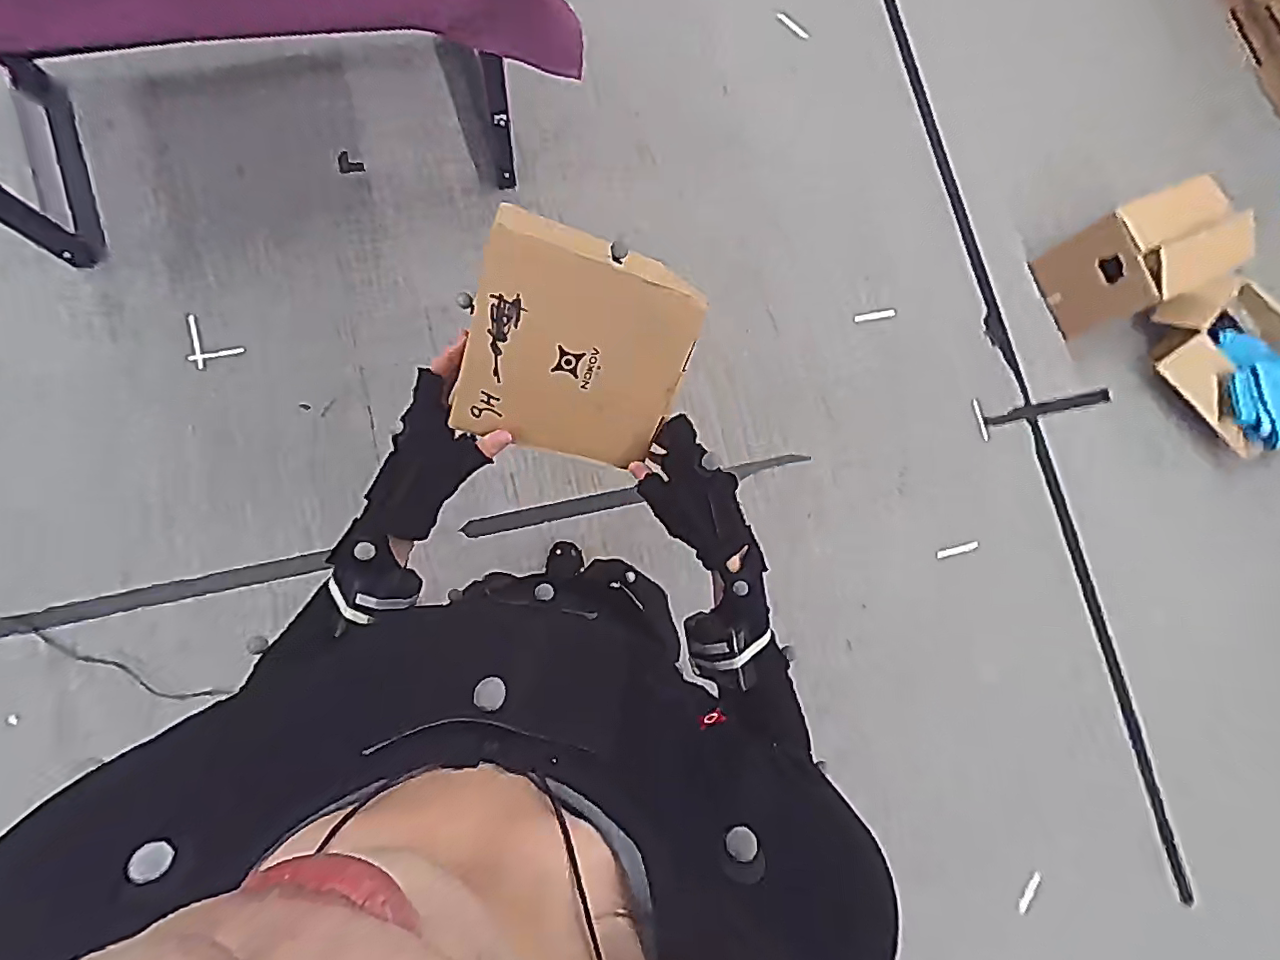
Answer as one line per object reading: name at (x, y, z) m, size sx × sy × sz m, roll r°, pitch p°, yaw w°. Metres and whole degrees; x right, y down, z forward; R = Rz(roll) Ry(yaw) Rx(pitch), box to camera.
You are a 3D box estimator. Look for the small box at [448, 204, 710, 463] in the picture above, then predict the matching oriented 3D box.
small box at (-0.067, -0.140, 0.500) m, size 0.179 × 0.176 × 0.168 m, roll 13°, pitch 116°, yaw -21°
